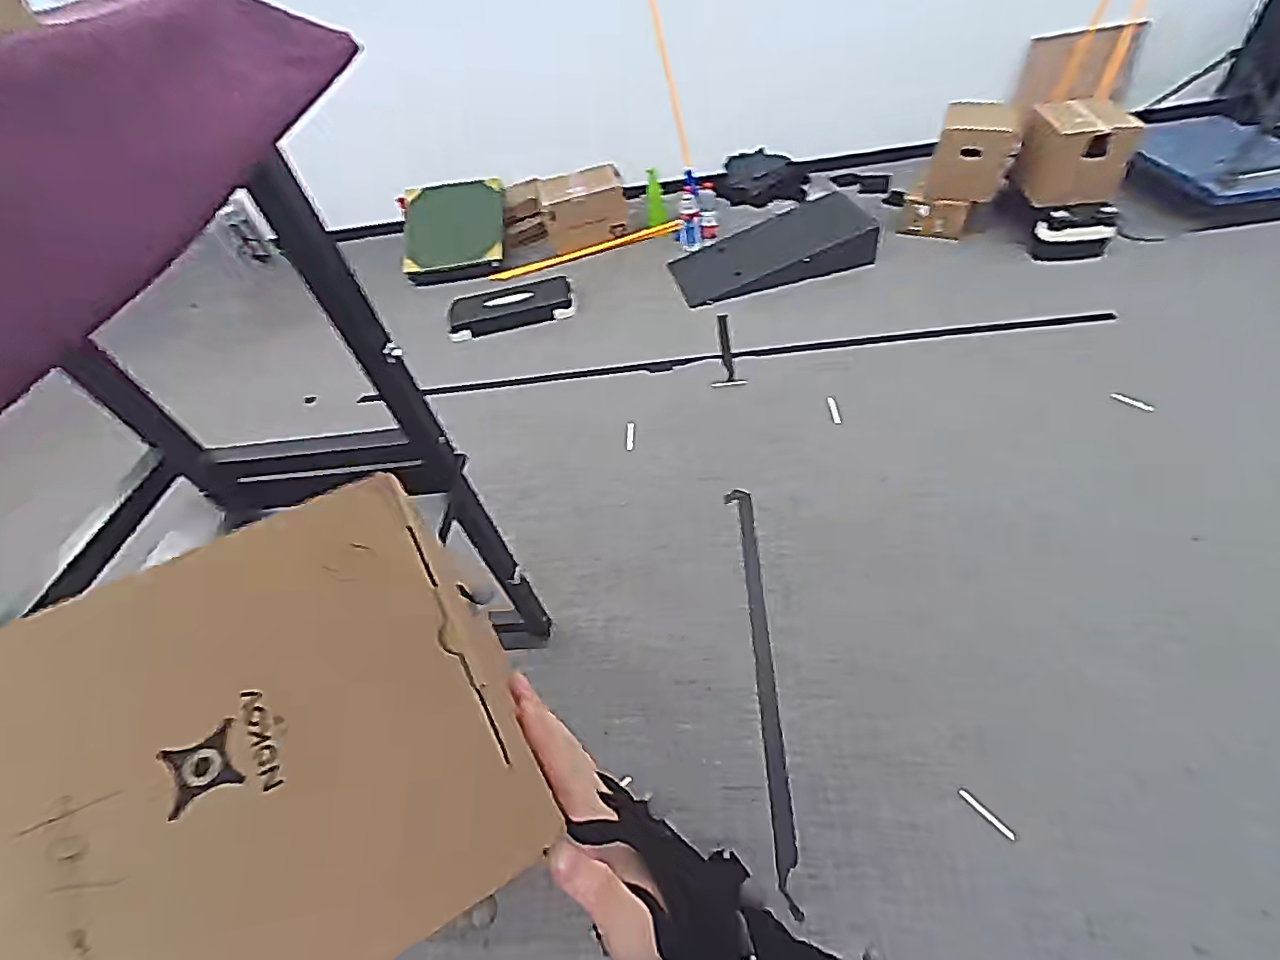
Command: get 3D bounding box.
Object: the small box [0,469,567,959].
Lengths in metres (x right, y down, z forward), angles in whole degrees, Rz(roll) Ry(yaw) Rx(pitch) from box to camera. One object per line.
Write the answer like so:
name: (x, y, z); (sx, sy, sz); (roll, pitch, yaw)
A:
small box: (-0.144, 0.128, 0.256); (0.179, 0.176, 0.168); (-25, 66, -15)
